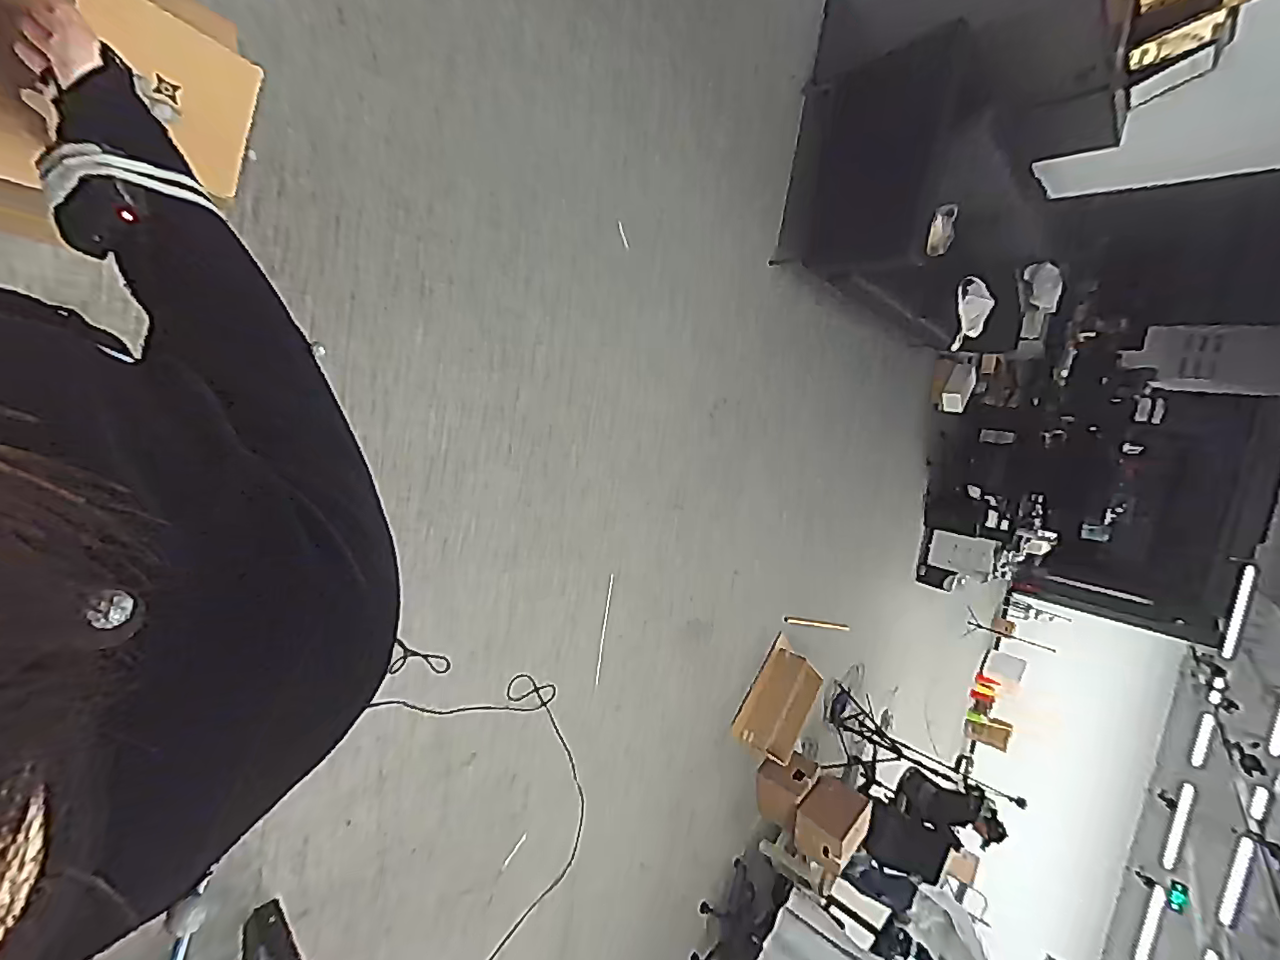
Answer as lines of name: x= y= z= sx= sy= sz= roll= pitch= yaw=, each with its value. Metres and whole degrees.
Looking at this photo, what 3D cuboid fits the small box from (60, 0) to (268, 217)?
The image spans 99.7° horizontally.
small box: x=-0.607 y=-0.469 z=0.692 sx=0.168 sy=0.176 sz=0.179 roll=12 pitch=92 yaw=-46
